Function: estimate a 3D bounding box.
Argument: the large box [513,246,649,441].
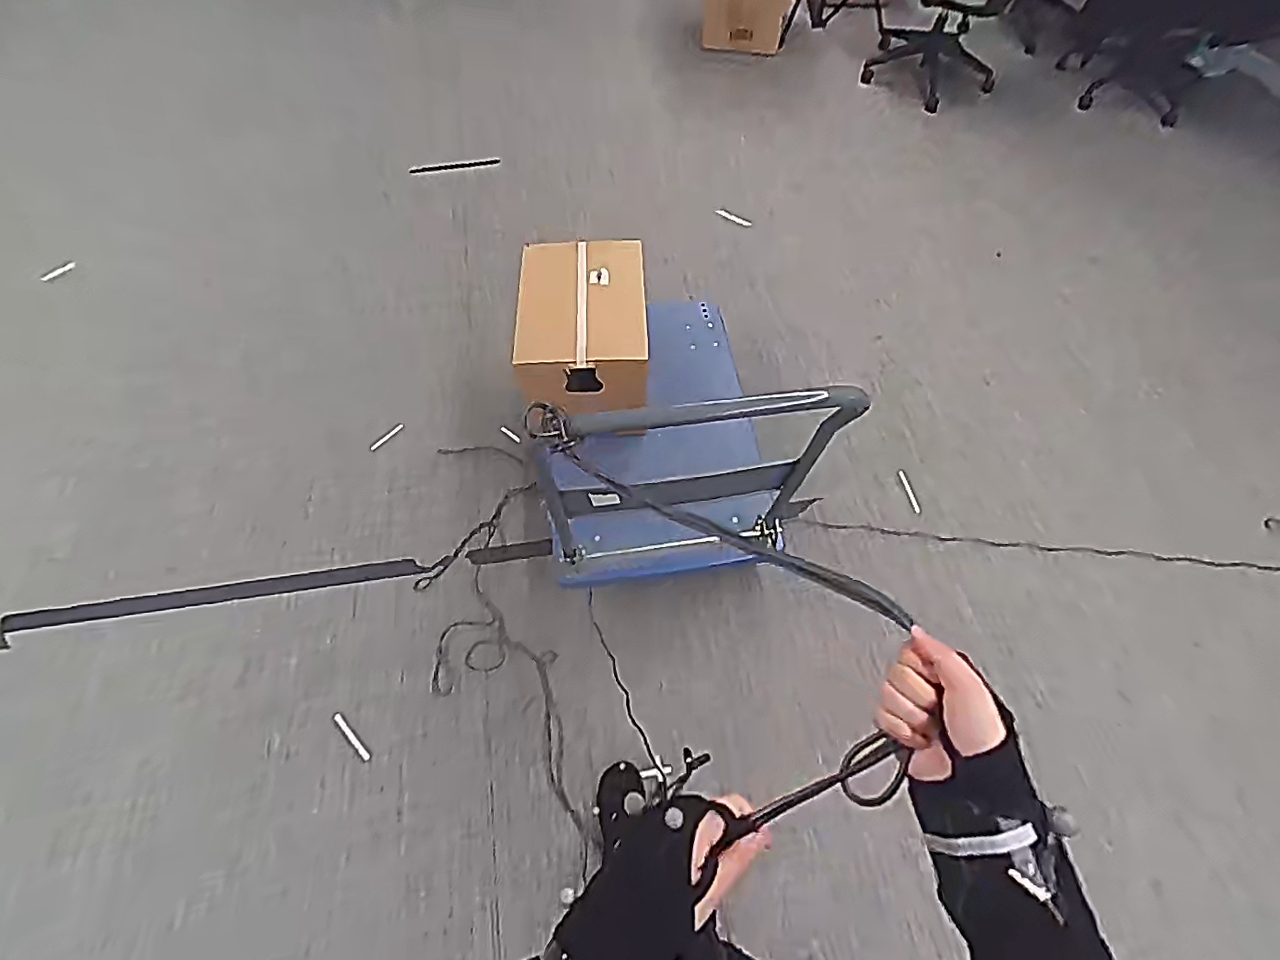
[{"bbox_3d":[-0.144,-0.357,1.446,0.320,0.320,0.408,-3,61,-2],"label":"large box"}]
